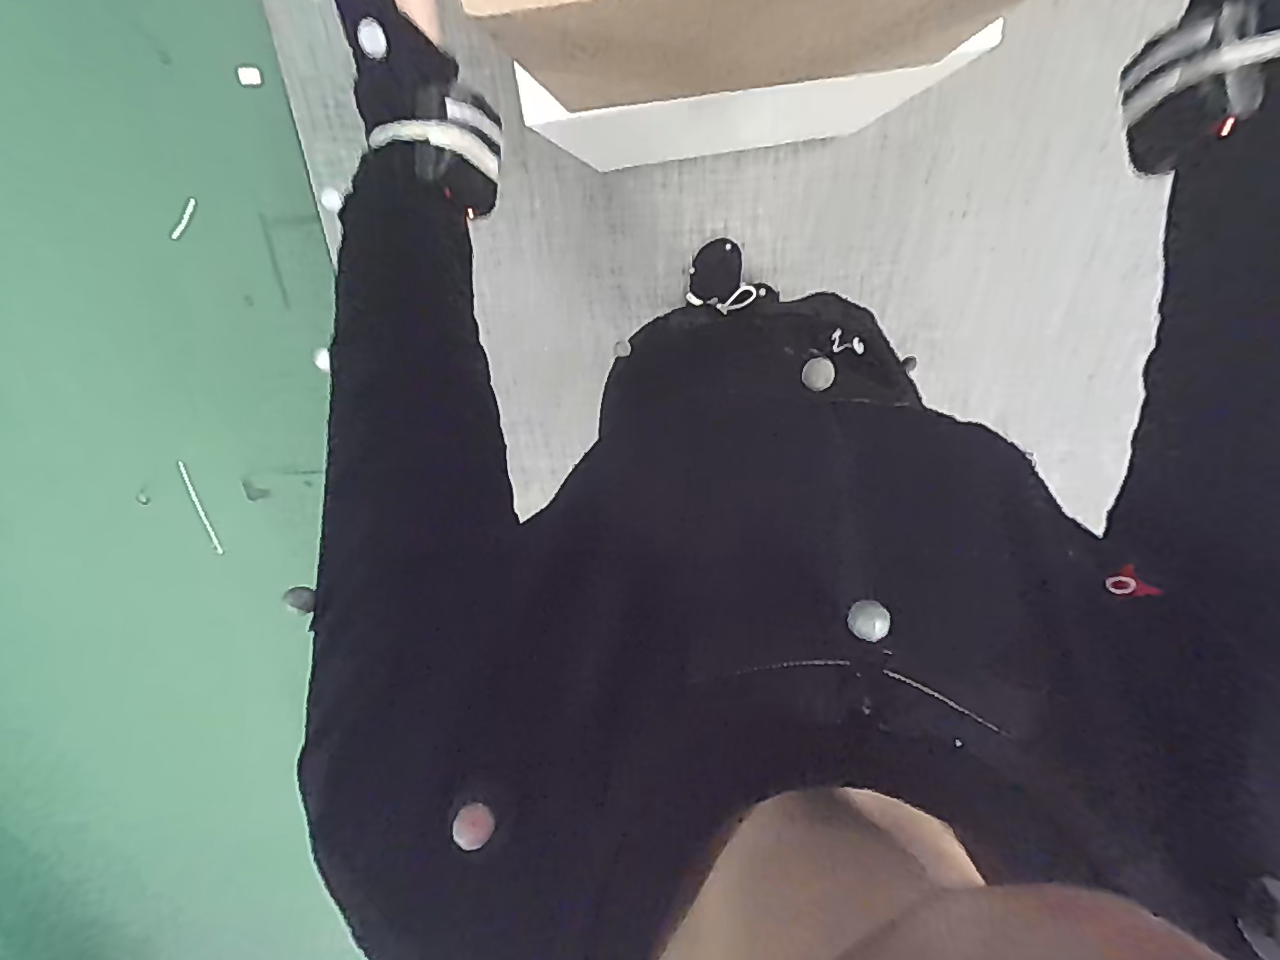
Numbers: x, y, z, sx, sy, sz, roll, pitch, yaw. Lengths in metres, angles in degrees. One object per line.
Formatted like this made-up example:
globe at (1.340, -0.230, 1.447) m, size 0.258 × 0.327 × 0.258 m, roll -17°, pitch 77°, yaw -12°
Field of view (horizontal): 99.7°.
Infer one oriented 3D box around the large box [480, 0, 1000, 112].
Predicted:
large box at (0.085, -0.509, 0.396) m, size 0.408 × 0.320 × 0.320 m, roll -4°, pitch 115°, yaw 6°
